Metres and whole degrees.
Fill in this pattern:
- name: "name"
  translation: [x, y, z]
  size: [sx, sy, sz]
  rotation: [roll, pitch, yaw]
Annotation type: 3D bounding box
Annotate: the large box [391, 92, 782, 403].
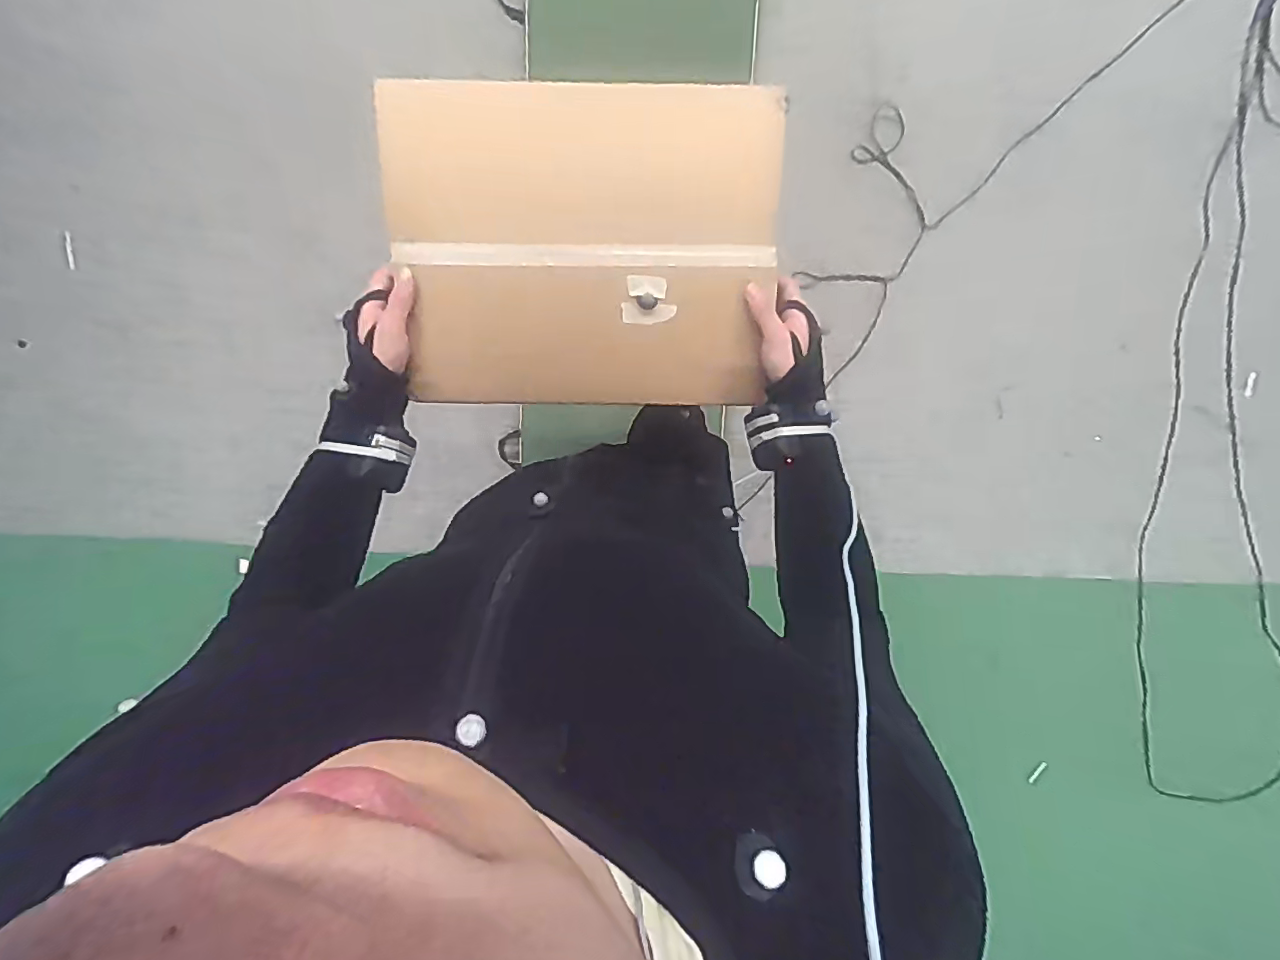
- name: "large box"
  translation: [-0.057, -0.277, 0.725]
  size: [0.408, 0.320, 0.320]
  rotation: [0, 105, -1]
